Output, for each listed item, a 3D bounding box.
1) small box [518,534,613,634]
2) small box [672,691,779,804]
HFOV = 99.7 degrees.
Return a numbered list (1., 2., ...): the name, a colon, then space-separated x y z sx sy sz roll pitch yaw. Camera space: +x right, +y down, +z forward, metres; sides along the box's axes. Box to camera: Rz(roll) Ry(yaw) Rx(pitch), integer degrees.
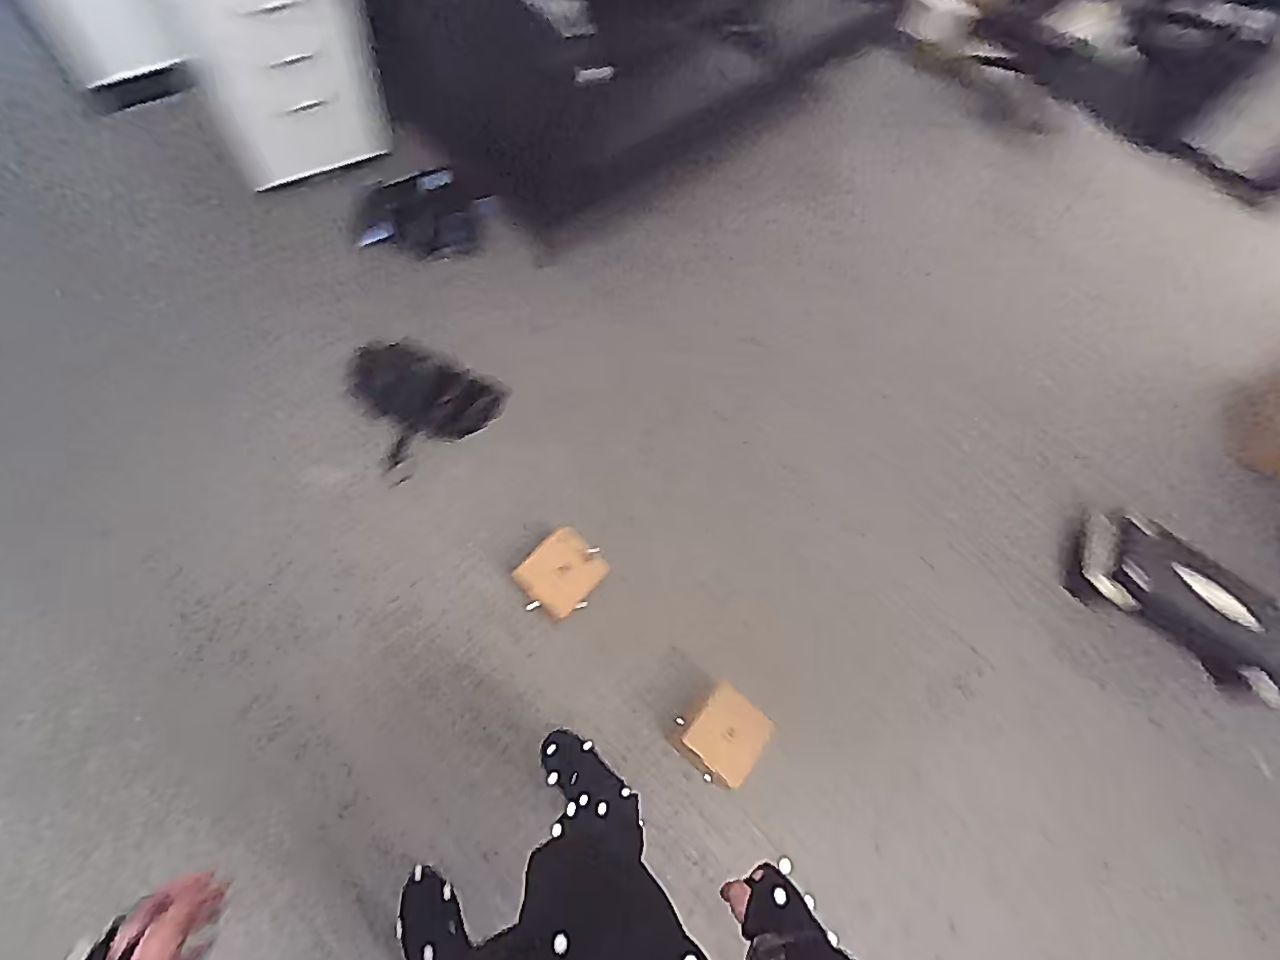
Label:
1. small box: -0.193 0.275 1.391 0.168 0.176 0.179 43 65 8
2. small box: 0.196 0.642 1.308 0.168 0.176 0.179 41 63 7
